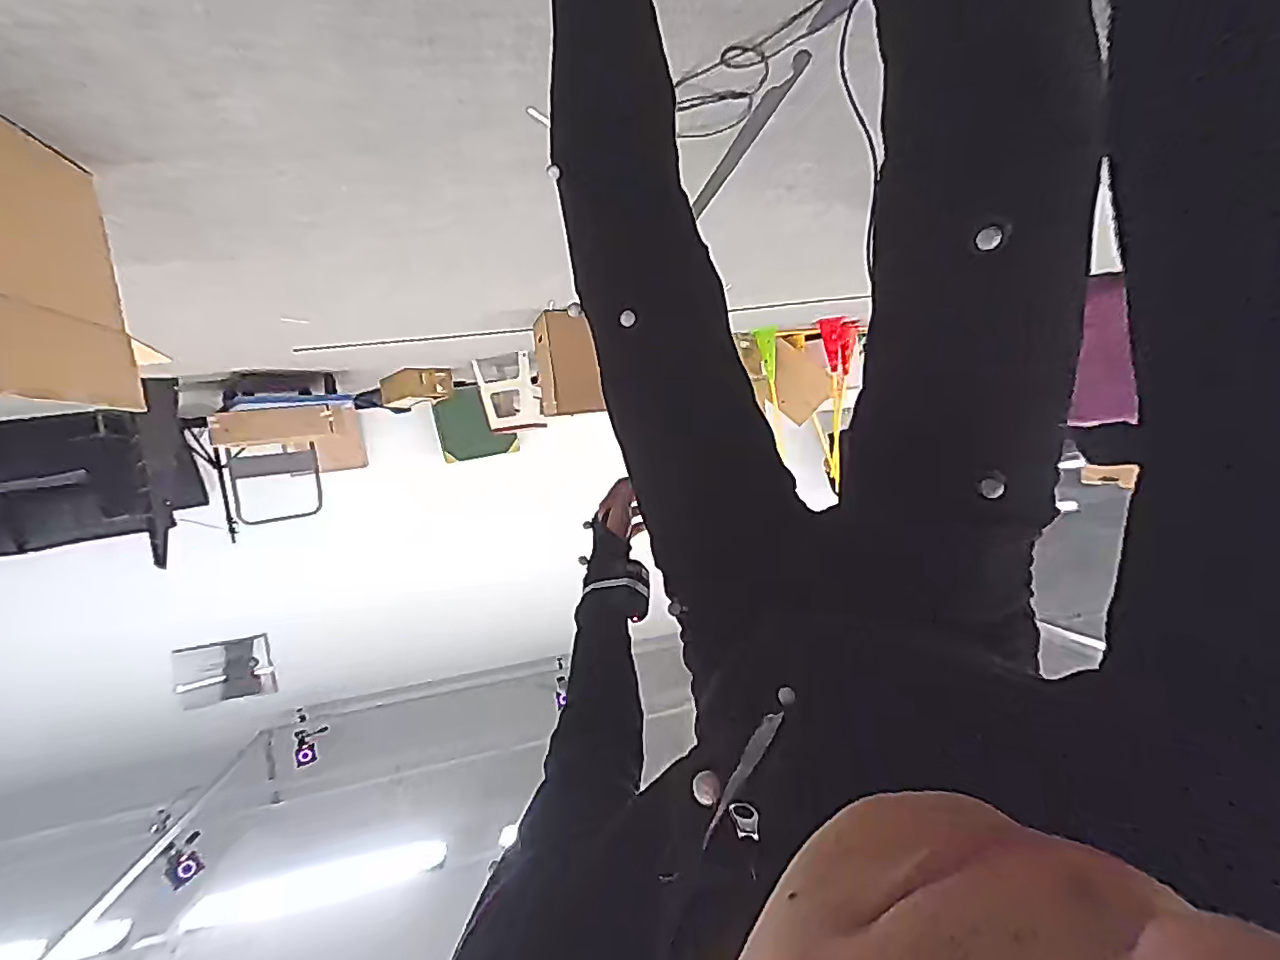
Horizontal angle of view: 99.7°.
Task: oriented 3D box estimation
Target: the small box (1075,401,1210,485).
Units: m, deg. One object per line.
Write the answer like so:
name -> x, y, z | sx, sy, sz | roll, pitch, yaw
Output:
small box -> 1.181, -0.087, 1.282 | 0.179, 0.176, 0.168 | -9, -175, -2
